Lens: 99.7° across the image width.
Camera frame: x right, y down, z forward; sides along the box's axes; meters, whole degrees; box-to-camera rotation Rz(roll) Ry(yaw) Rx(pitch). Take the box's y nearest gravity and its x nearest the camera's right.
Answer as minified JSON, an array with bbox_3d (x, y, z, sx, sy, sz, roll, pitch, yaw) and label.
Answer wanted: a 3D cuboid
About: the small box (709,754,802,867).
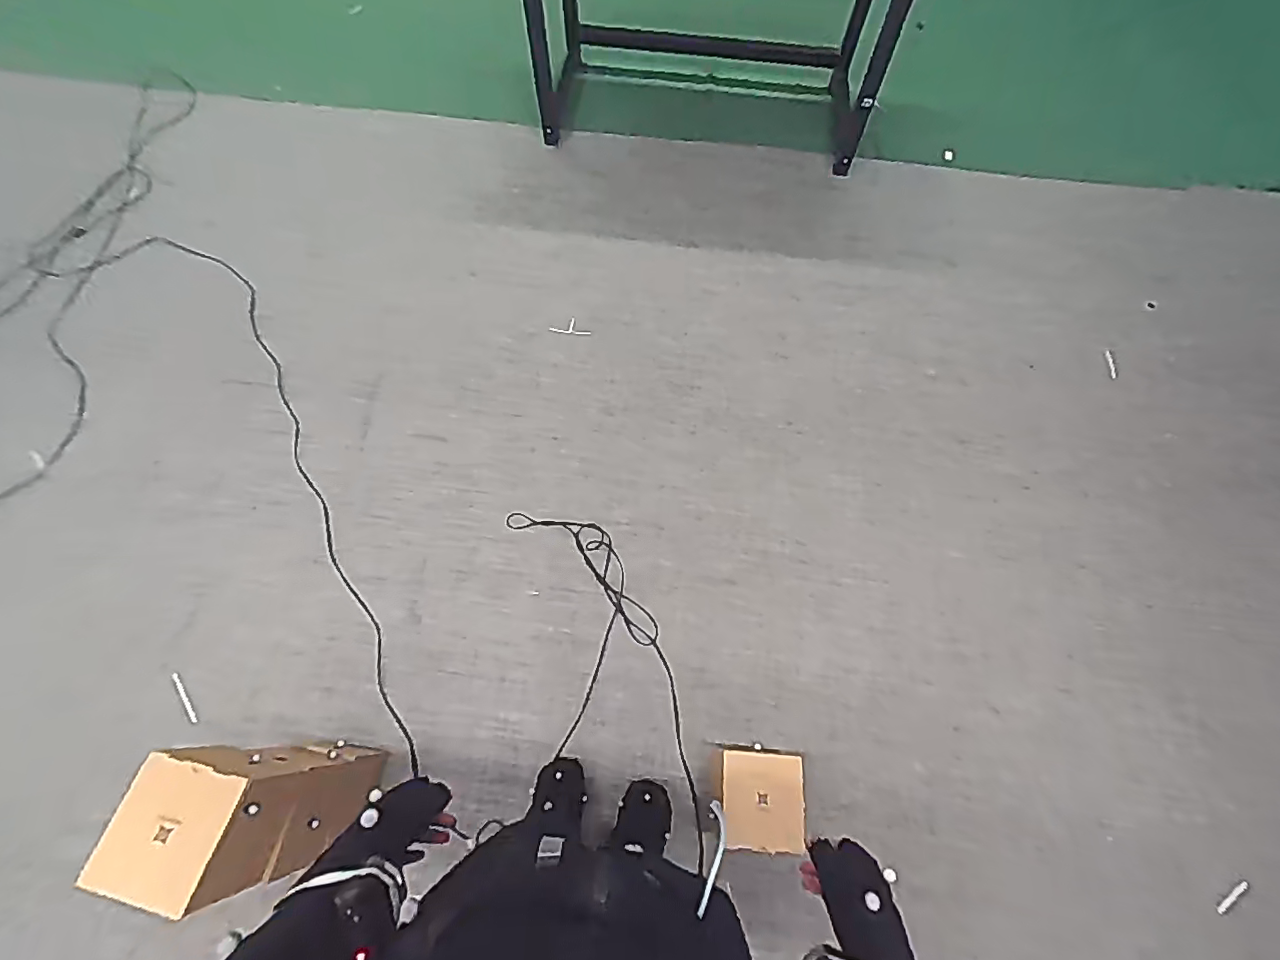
[{"bbox_3d":[0.242,0.698,1.160,0.168,0.176,0.179,6,66,0],"label":"small box"}]

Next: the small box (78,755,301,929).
[{"bbox_3d":[-0.680,0.548,0.846,0.168,0.176,0.179,14,65,5],"label":"small box"}]

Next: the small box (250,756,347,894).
[{"bbox_3d":[-0.675,0.618,0.993,0.168,0.176,0.179,9,67,3],"label":"small box"}]

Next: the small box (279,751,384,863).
[{"bbox_3d":[-0.673,0.683,1.146,0.168,0.176,0.179,5,64,4],"label":"small box"}]
